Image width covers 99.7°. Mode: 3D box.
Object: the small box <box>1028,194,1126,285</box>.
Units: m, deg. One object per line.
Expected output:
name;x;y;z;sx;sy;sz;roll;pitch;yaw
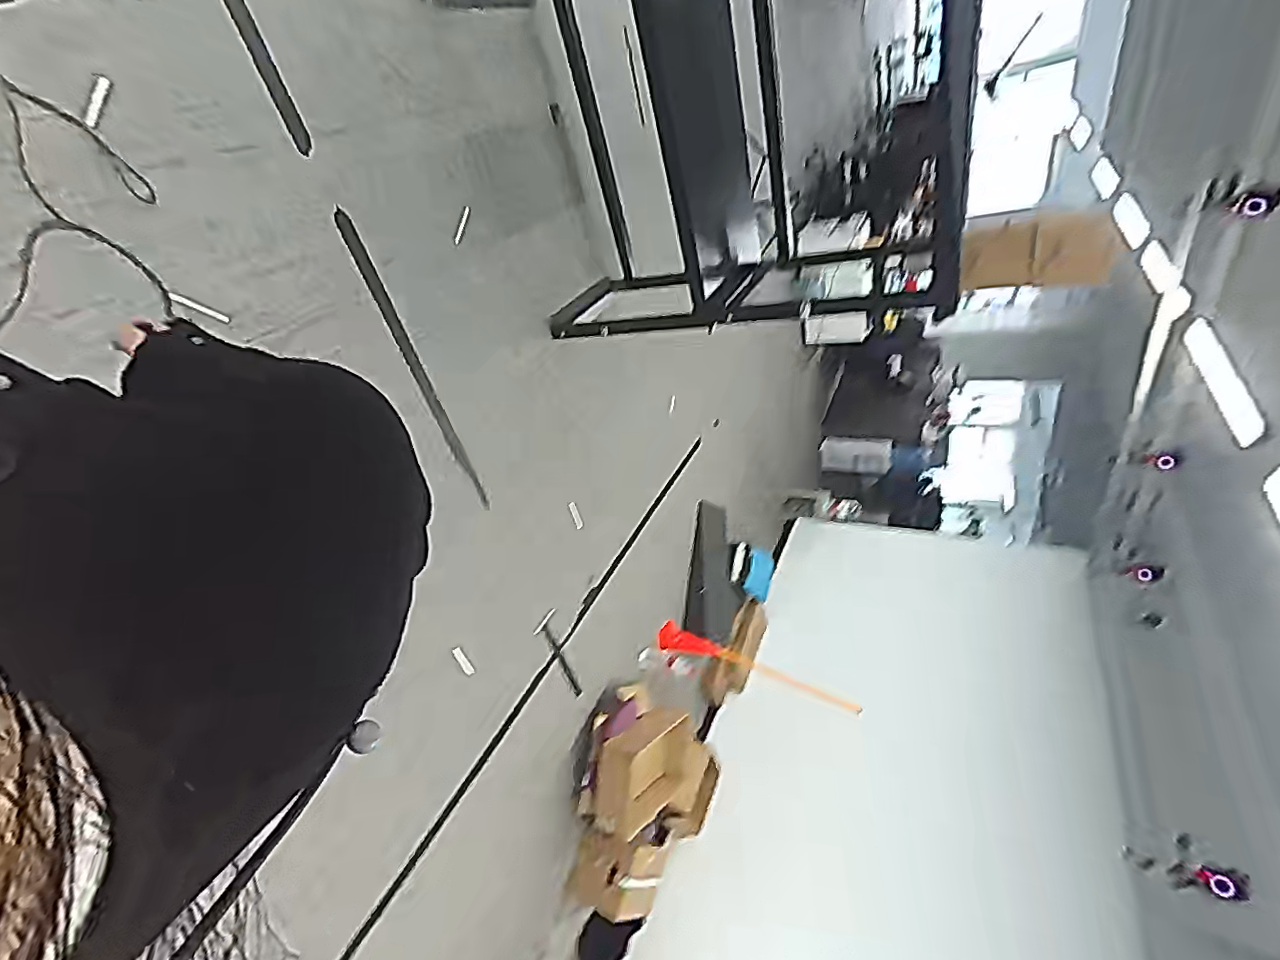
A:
small box;1.120;-0.621;1.401;0.179;0.176;0.168;-52;136;-42
